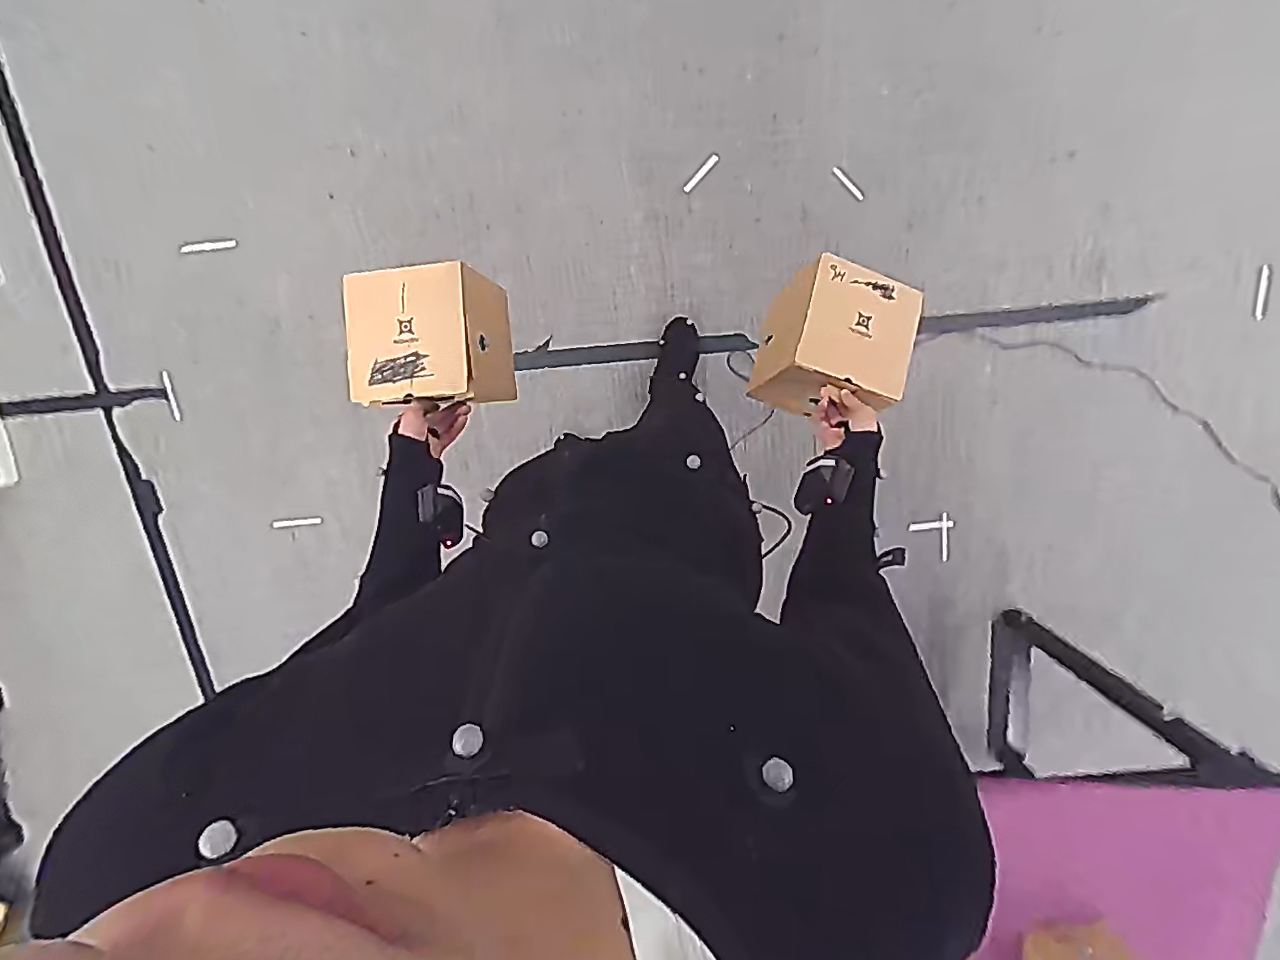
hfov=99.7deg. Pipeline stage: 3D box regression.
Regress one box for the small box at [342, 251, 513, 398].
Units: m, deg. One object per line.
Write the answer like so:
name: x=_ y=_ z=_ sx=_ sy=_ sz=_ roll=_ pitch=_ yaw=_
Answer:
small box: x=-0.293 y=-0.211 z=0.783 sx=0.168 sy=0.176 sz=0.179 roll=-4 pitch=96 yaw=7

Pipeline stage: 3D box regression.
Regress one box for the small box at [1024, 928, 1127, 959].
small box: x=0.865 y=1.008 z=1.028 sx=0.168 sy=0.176 sz=0.179 roll=-8 pitch=102 yaw=2

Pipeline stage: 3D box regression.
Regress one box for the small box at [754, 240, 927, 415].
small box: x=0.288 y=-0.213 z=0.814 sx=0.168 sy=0.176 sz=0.179 roll=18 pitch=81 yaw=-8
